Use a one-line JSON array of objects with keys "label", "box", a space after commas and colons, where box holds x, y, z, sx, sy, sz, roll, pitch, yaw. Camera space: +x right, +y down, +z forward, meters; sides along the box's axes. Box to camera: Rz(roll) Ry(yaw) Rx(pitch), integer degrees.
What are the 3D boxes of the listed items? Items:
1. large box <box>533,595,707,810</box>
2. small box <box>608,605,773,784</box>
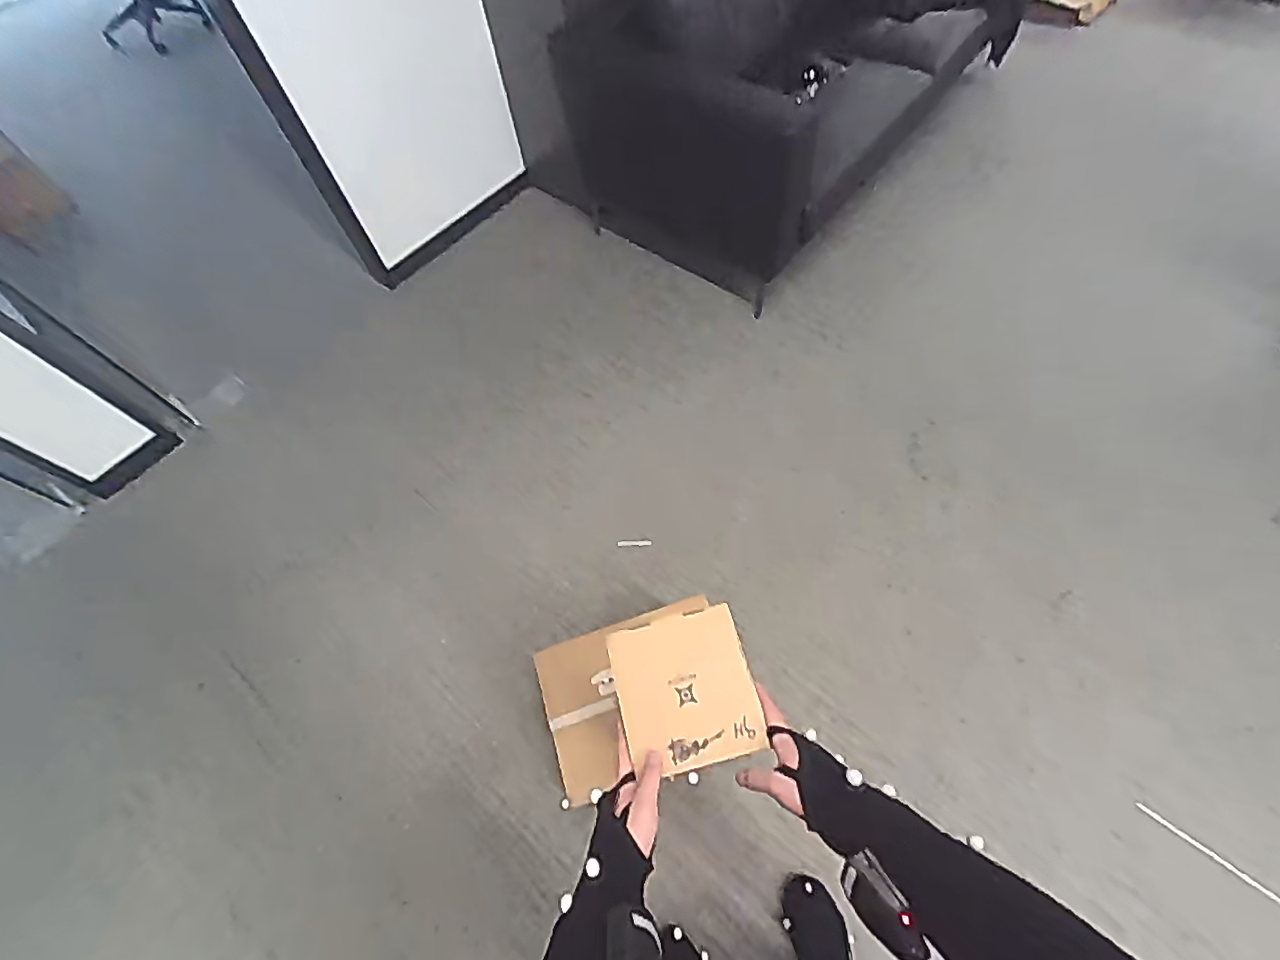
[{"label": "large box", "box": [0.014, 0.512, 1.251, 0.408, 0.320, 0.320, -18, 61, -5]}, {"label": "small box", "box": [0.060, 0.288, 0.719, 0.168, 0.176, 0.179, -14, 62, -2]}]
